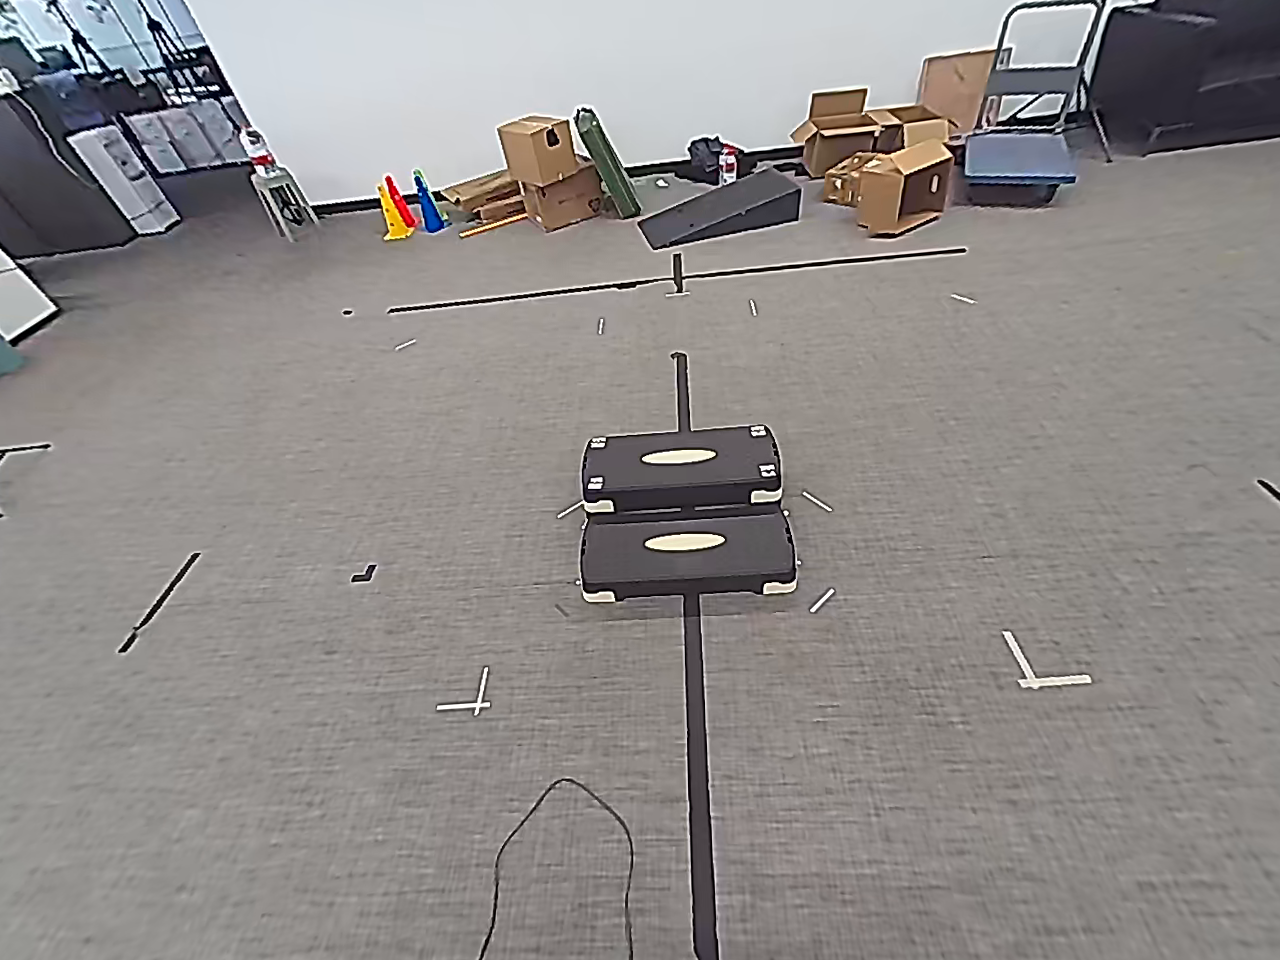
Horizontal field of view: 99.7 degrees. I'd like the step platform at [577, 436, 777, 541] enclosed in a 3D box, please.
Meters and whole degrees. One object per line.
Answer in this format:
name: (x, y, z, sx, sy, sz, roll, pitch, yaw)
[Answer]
step platform: (0.124, 0.023, 1.884, 0.684, 0.204, 0.286, -4, 46, 4)
